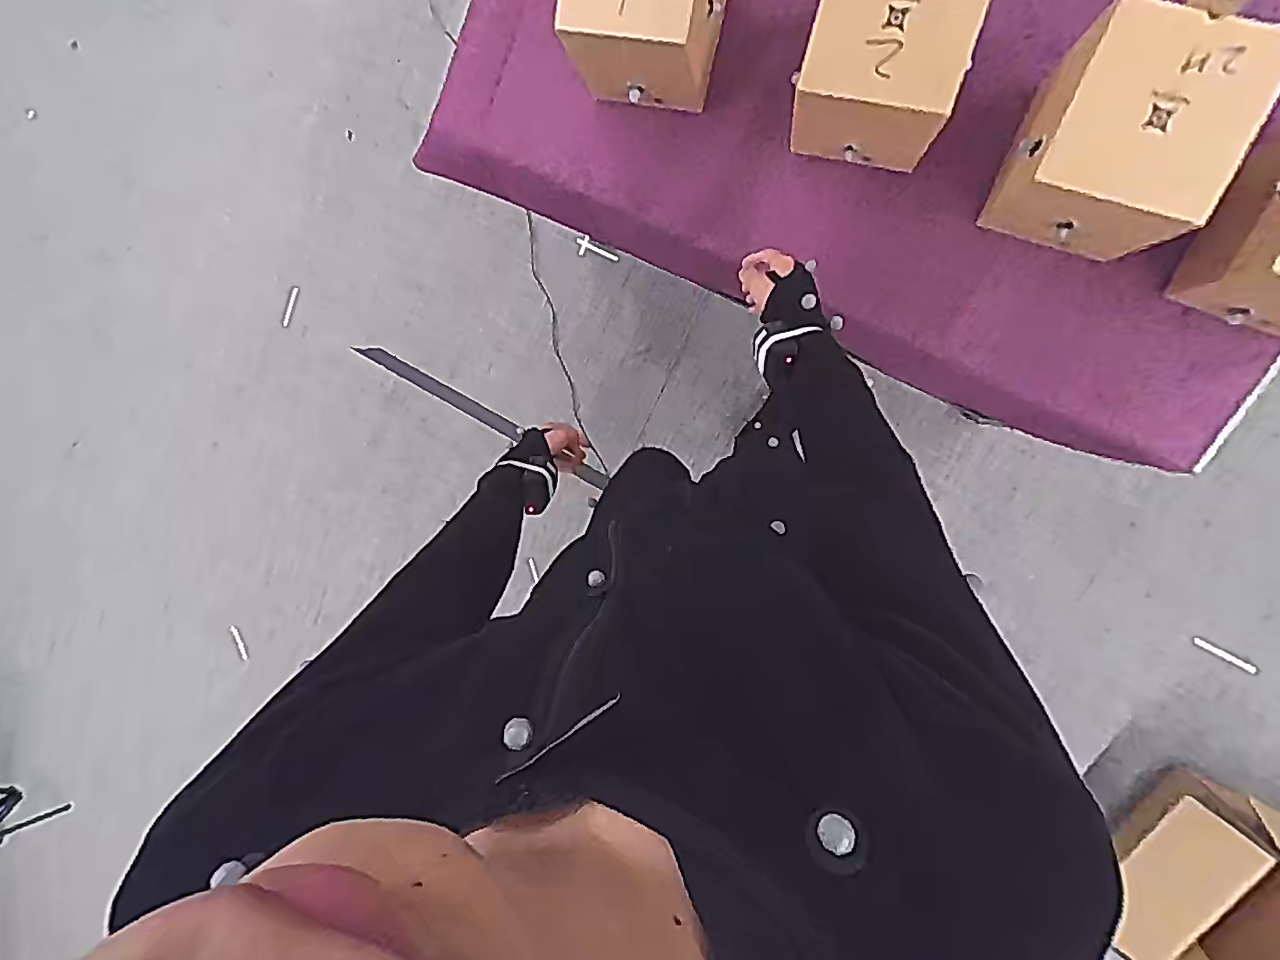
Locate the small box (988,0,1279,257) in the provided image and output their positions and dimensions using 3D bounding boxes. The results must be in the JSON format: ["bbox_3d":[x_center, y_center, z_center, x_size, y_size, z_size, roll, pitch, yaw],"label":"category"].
[{"bbox_3d":[0.528,-0.371,0.605,0.168,0.176,0.179,22,104,8],"label":"small box"}]

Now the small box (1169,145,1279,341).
[{"bbox_3d":[0.739,-0.263,0.574,0.168,0.176,0.179,25,104,10],"label":"small box"}]

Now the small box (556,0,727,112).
[{"bbox_3d":[0.013,-0.610,0.684,0.168,0.176,0.179,15,104,11],"label":"small box"}]
